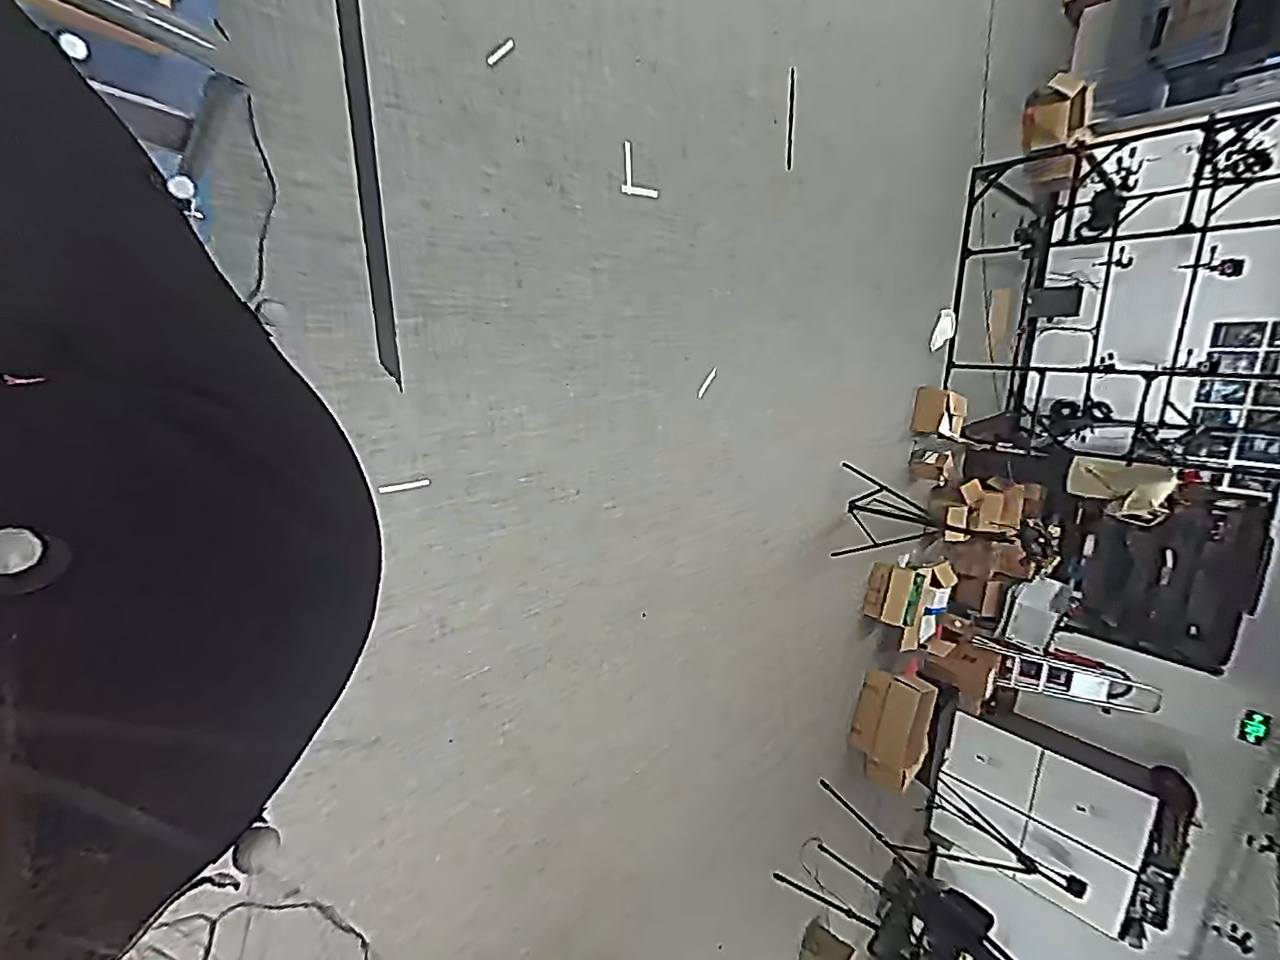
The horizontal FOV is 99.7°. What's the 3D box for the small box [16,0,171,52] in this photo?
[{"bbox_3d":[-0.800,-0.769,0.779,0.179,0.176,0.168,-5,103,-44],"label":"small box"}]
